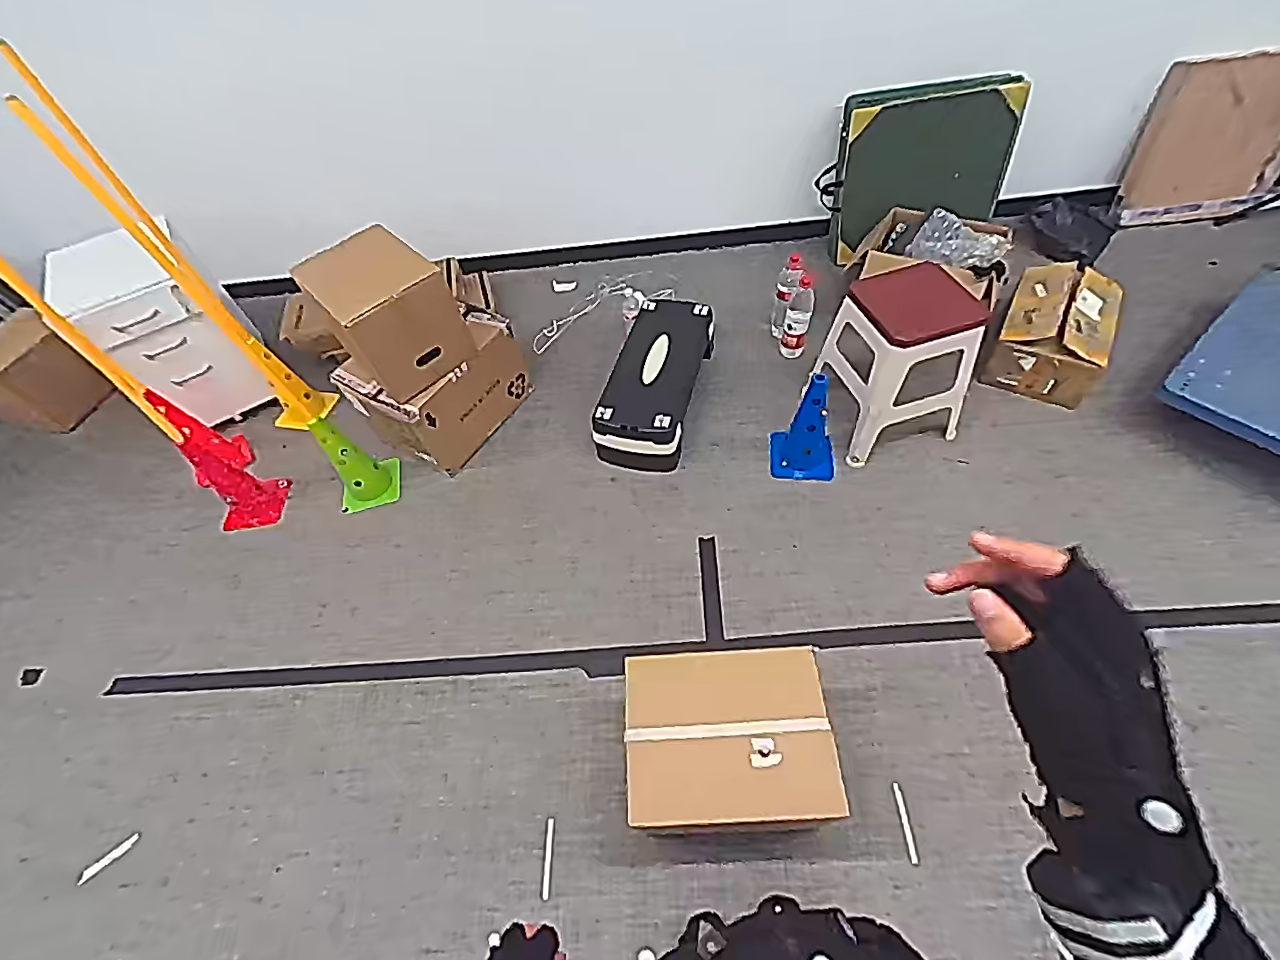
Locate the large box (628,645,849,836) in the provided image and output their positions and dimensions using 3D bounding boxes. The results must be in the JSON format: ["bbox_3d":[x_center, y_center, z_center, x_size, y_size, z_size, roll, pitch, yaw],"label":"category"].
[{"bbox_3d":[0.188,0.582,1.194,0.408,0.320,0.320,-4,54,2],"label":"large box"}]
